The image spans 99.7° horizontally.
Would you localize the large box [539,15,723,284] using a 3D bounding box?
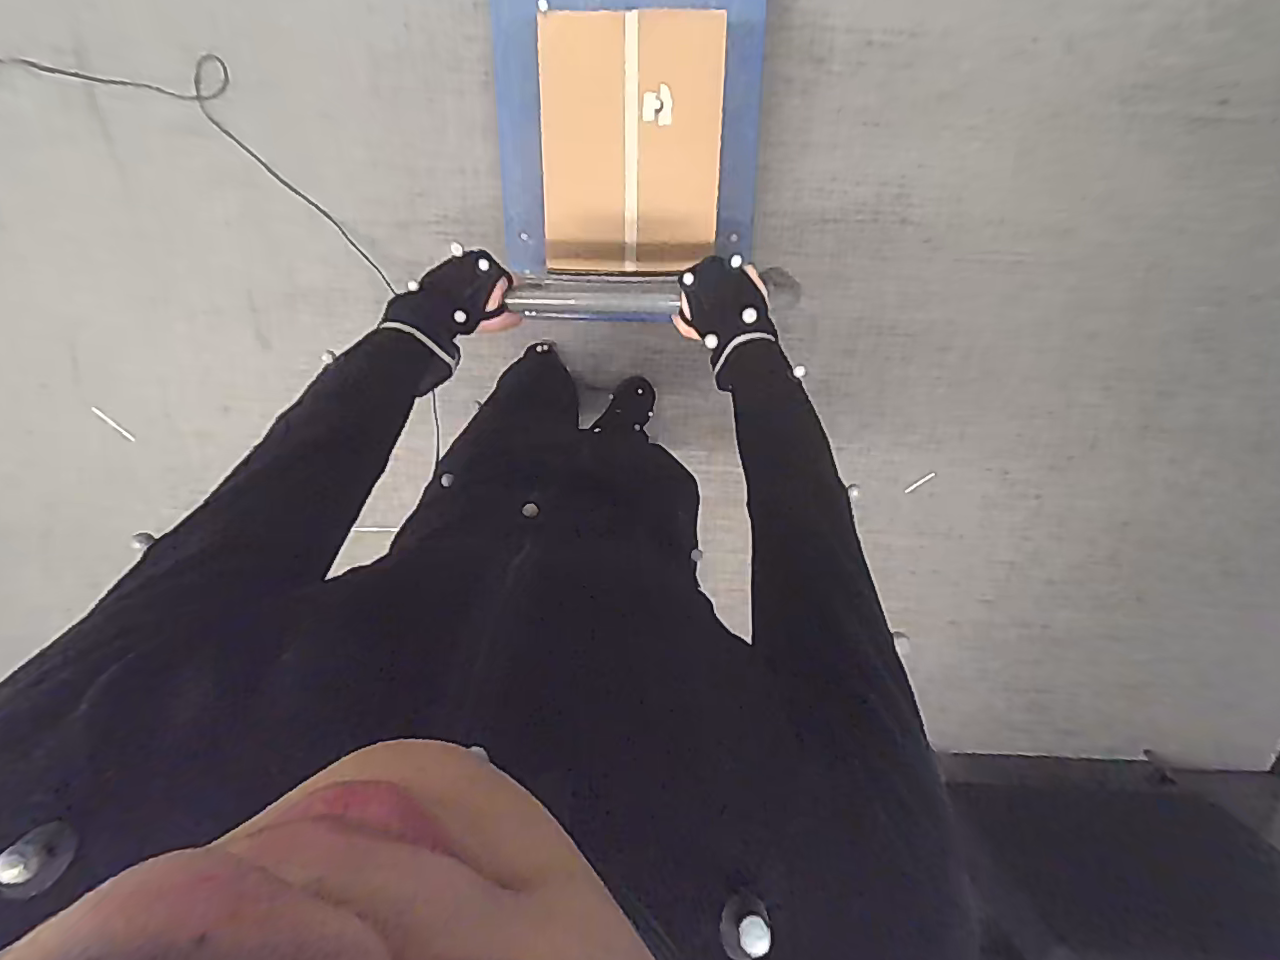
[{"bbox_3d":[-0.010,-0.616,1.089,0.320,0.320,0.408,1,108,1],"label":"large box"}]
